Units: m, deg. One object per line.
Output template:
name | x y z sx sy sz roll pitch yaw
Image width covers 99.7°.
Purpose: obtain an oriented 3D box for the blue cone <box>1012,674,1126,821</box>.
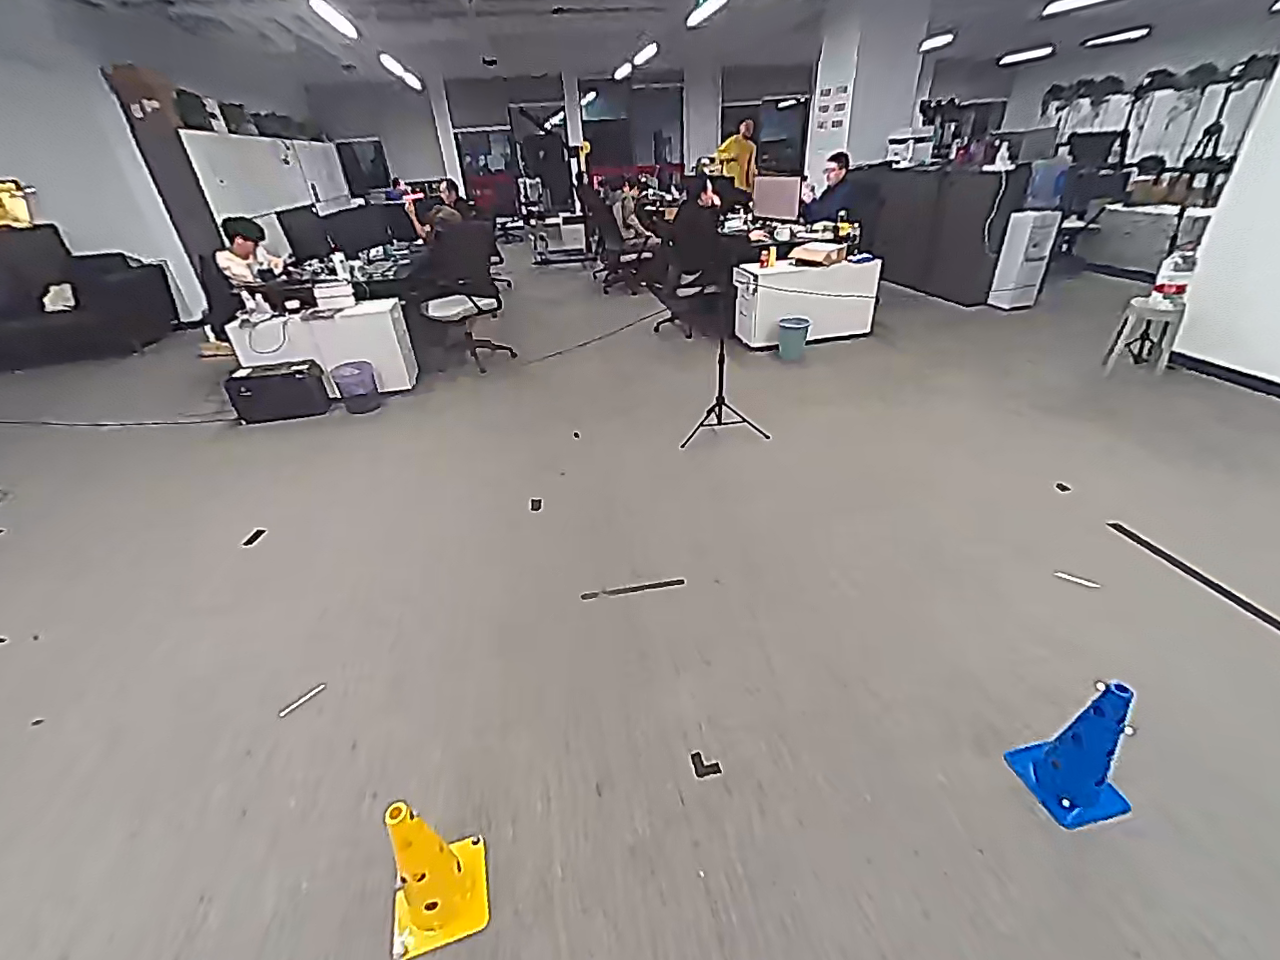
blue cone | 1.063 0.607 1.274 0.193 0.380 0.192 -8 30 -7
